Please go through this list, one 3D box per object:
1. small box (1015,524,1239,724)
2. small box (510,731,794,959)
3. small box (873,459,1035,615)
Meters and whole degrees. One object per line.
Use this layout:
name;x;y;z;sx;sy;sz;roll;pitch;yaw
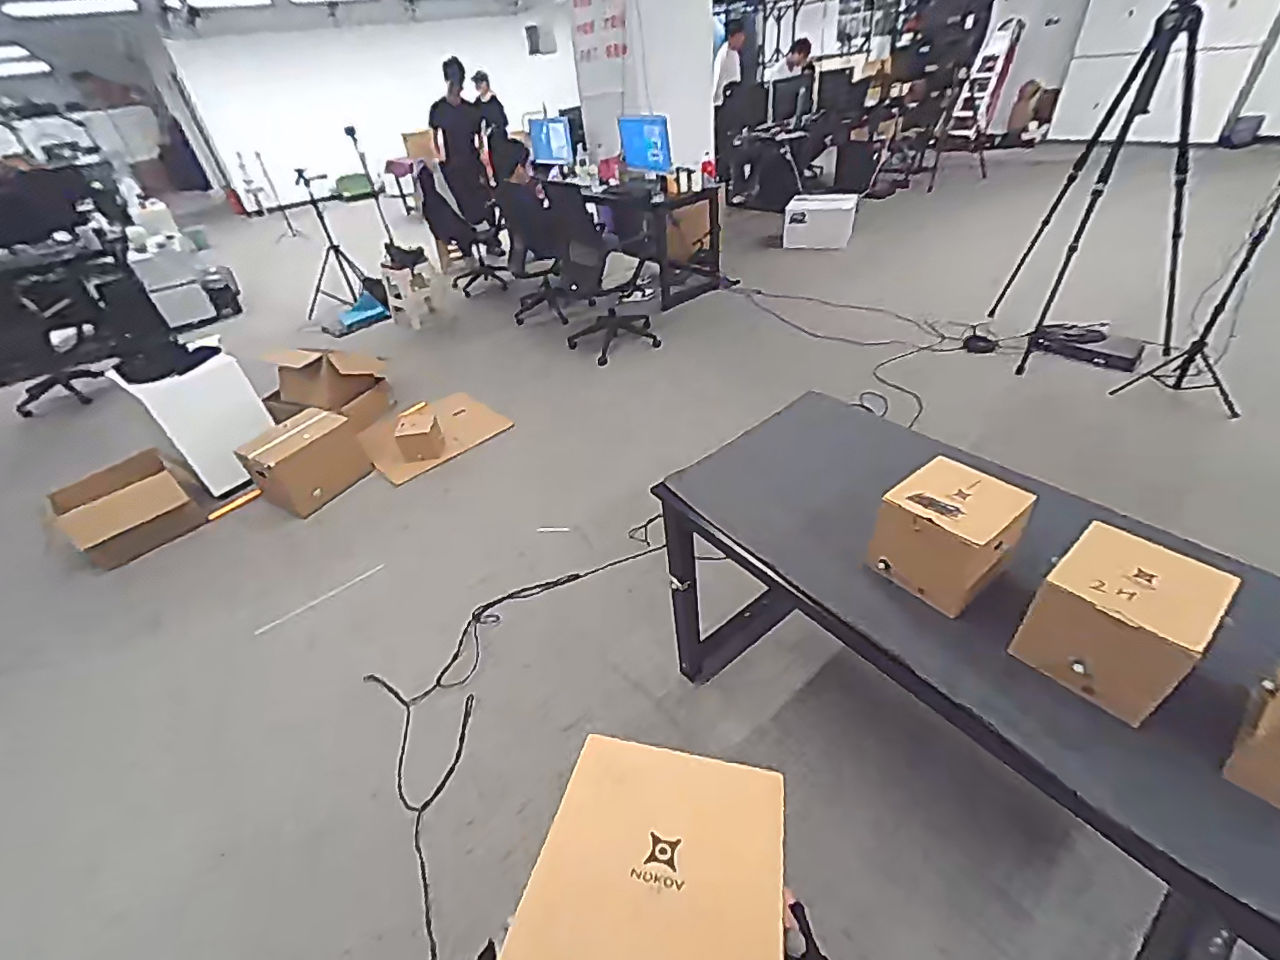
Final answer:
small box;0.675;0.199;0.768;0.179;0.176;0.168;-29;42;-27
small box;0.018;0.330;0.401;0.168;0.176;0.179;6;24;12
small box;0.526;0.096;0.929;0.179;0.176;0.168;-27;42;-26
